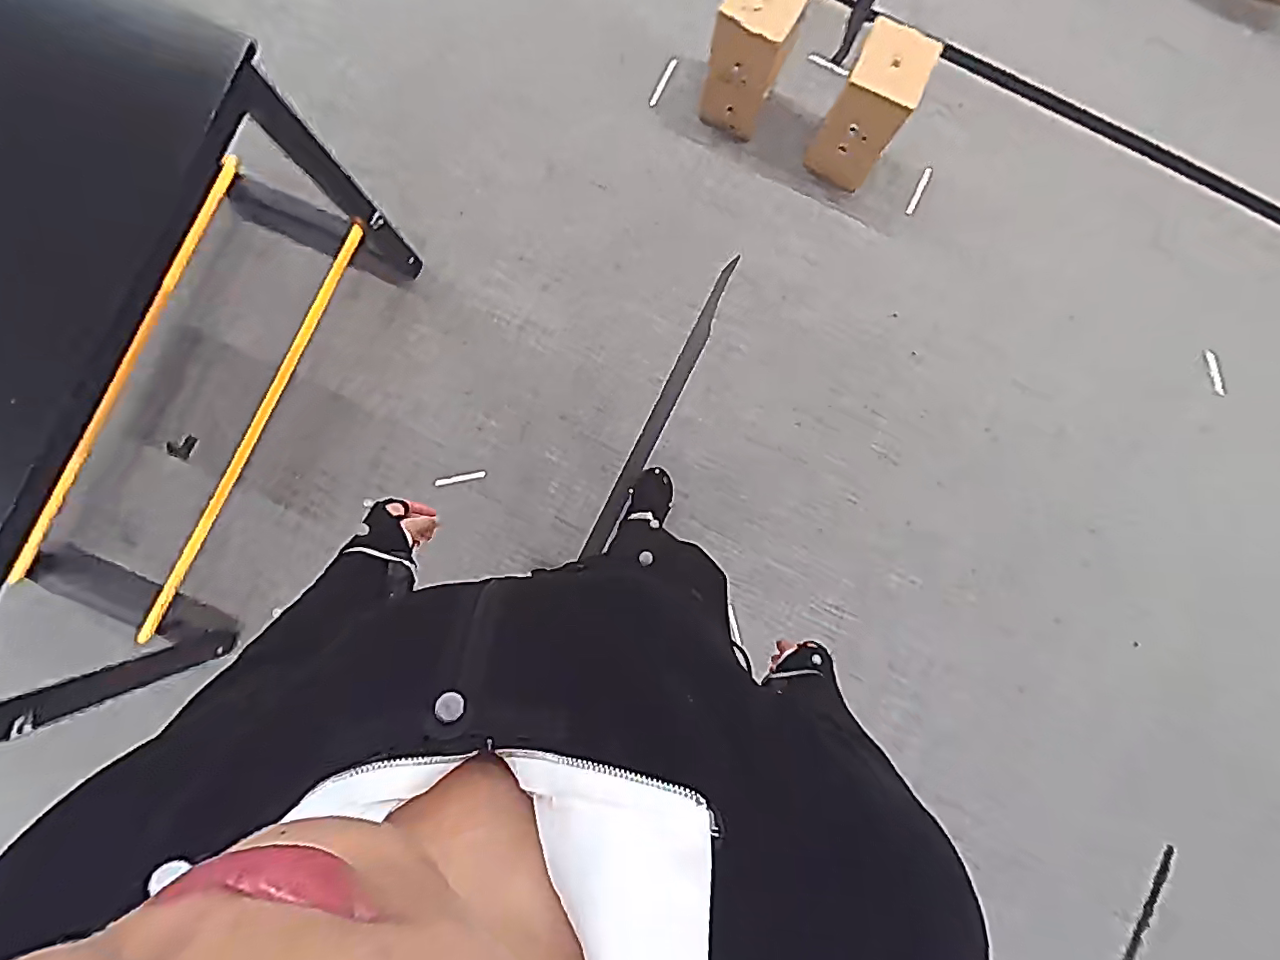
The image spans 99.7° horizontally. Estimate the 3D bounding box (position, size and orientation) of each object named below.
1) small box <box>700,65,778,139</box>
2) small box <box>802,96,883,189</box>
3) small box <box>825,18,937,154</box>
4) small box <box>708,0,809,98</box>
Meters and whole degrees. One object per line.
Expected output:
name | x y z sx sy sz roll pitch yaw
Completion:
small box | 0.272 -1.083 1.475 0.168 0.176 0.179 25 88 -1
small box | 0.575 -0.942 1.483 0.179 0.176 0.168 28 88 -2
small box | 0.578 -0.951 1.321 0.168 0.176 0.179 23 89 0
small box | 0.281 -1.091 1.309 0.168 0.176 0.179 30 87 0
